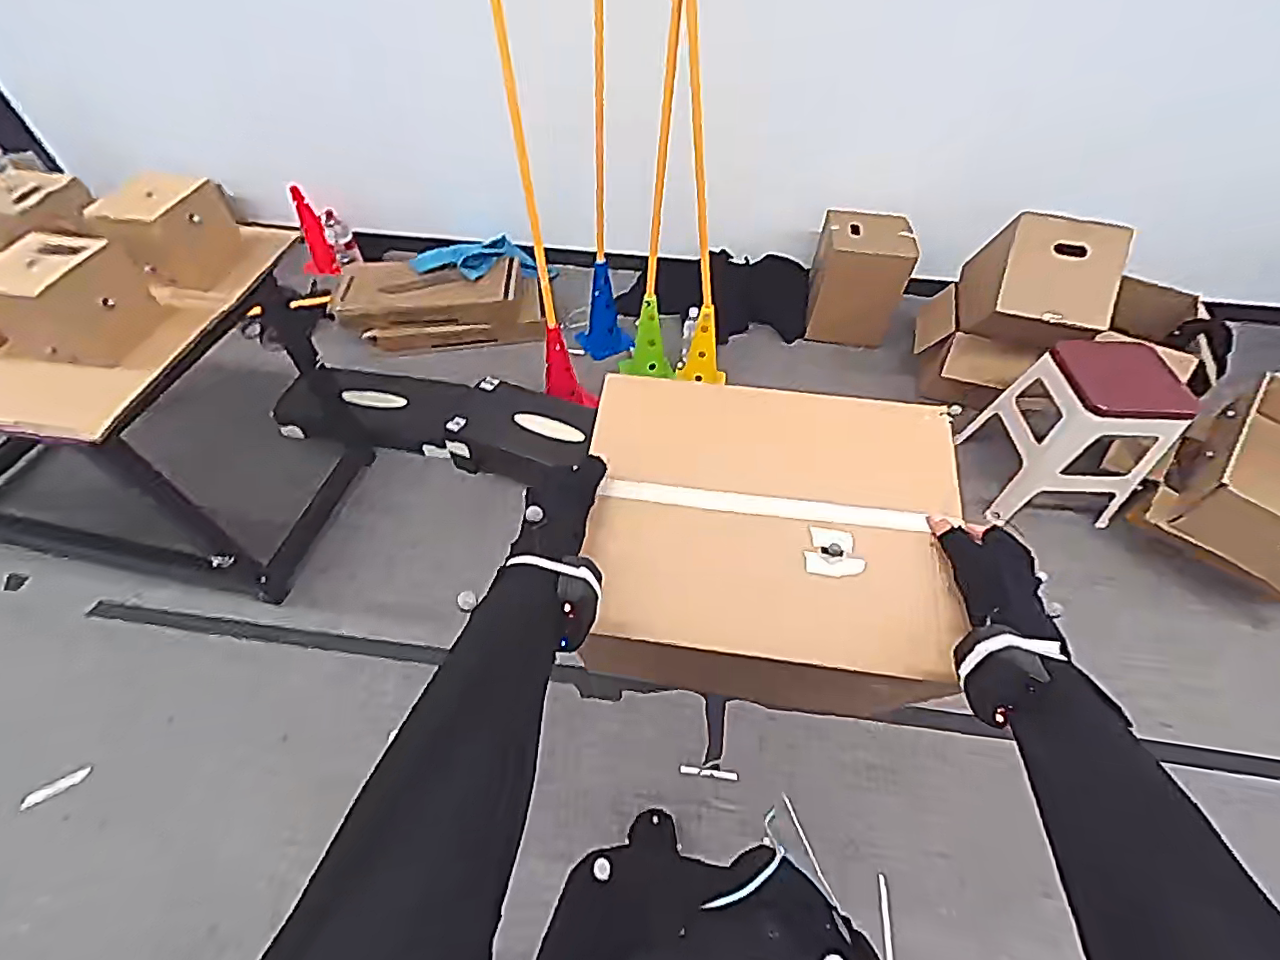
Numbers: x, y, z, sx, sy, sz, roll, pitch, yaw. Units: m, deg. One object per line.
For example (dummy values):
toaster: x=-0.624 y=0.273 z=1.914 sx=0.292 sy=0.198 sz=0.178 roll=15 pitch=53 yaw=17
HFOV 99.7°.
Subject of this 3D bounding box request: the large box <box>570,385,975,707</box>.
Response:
large box: x=0.146 y=0.103 z=0.727 sx=0.408 sy=0.320 sz=0.320 roll=7 pitch=64 yaw=5
